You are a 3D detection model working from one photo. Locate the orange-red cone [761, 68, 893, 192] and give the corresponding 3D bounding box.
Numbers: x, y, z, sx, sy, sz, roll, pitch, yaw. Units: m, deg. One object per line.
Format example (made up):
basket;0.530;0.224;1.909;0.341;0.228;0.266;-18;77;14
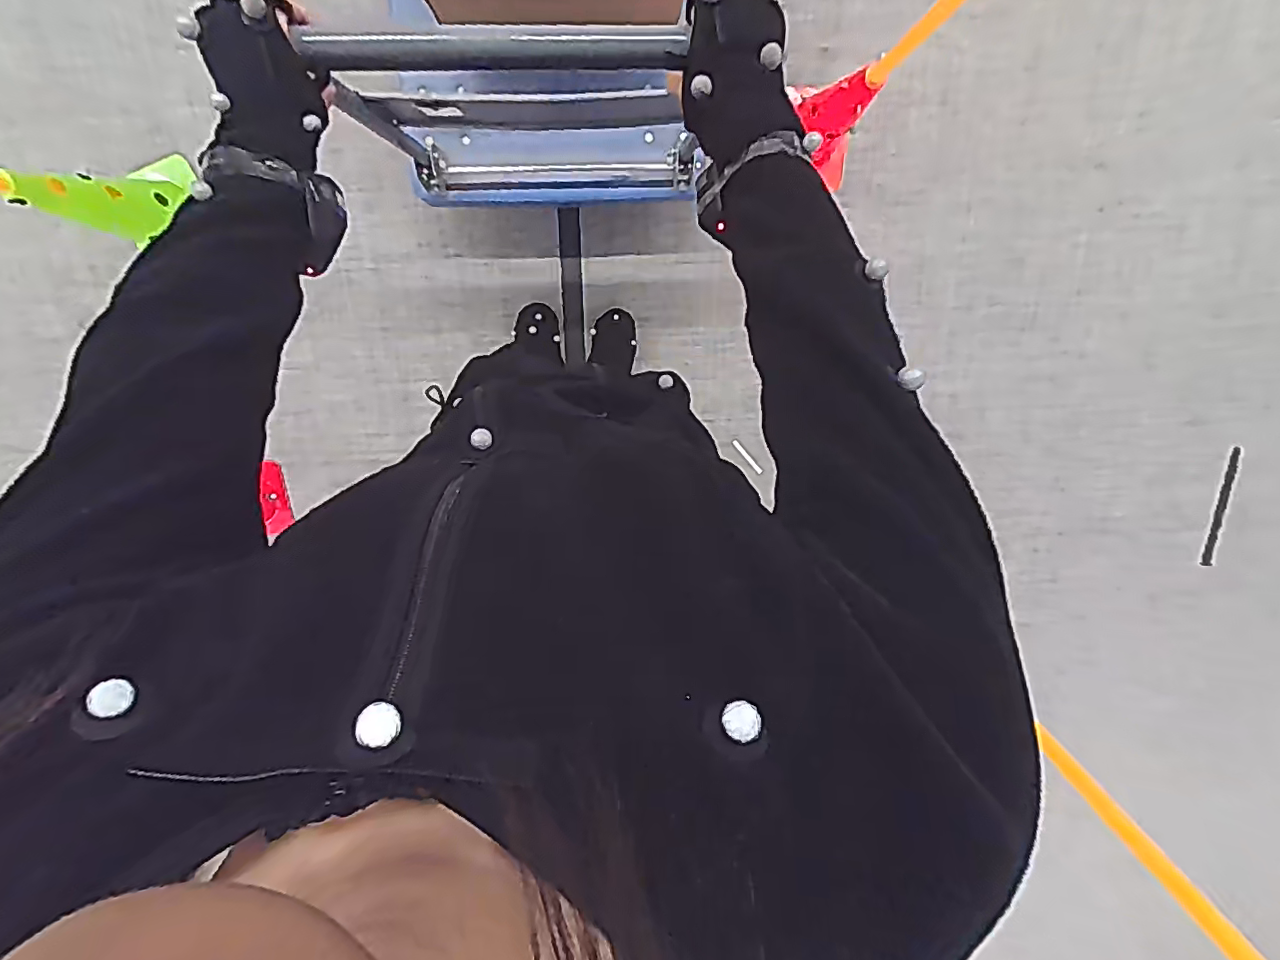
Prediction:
orange-red cone;0.394;-0.717;1.061;0.199;0.360;0.198;4;108;-5
